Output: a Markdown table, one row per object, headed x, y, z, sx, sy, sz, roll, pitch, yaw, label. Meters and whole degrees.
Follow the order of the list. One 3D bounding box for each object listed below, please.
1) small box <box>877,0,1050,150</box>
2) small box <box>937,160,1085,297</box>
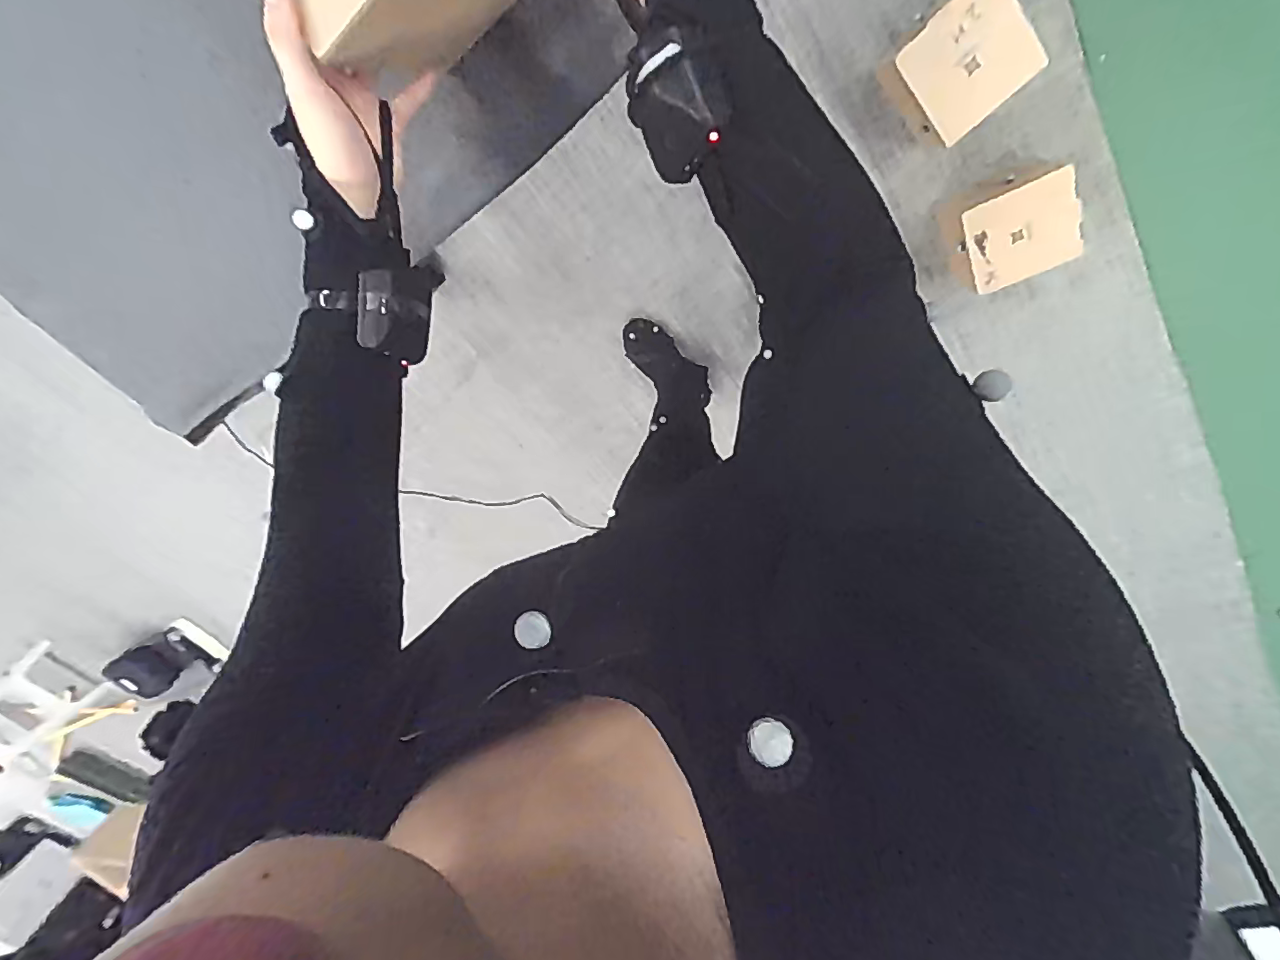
| x | y | z | sx | sy | sz | roll | pitch | yaw | label |
| --- | --- | --- | --- | --- | --- | --- | --- | --- | --- |
| 0.532 | -0.698 | 0.912 | 0.168 | 0.176 | 0.179 | -37 | 110 | 28 | small box |
| 0.697 | -0.481 | 1.028 | 0.179 | 0.176 | 0.168 | -20 | 119 | 22 | small box |
